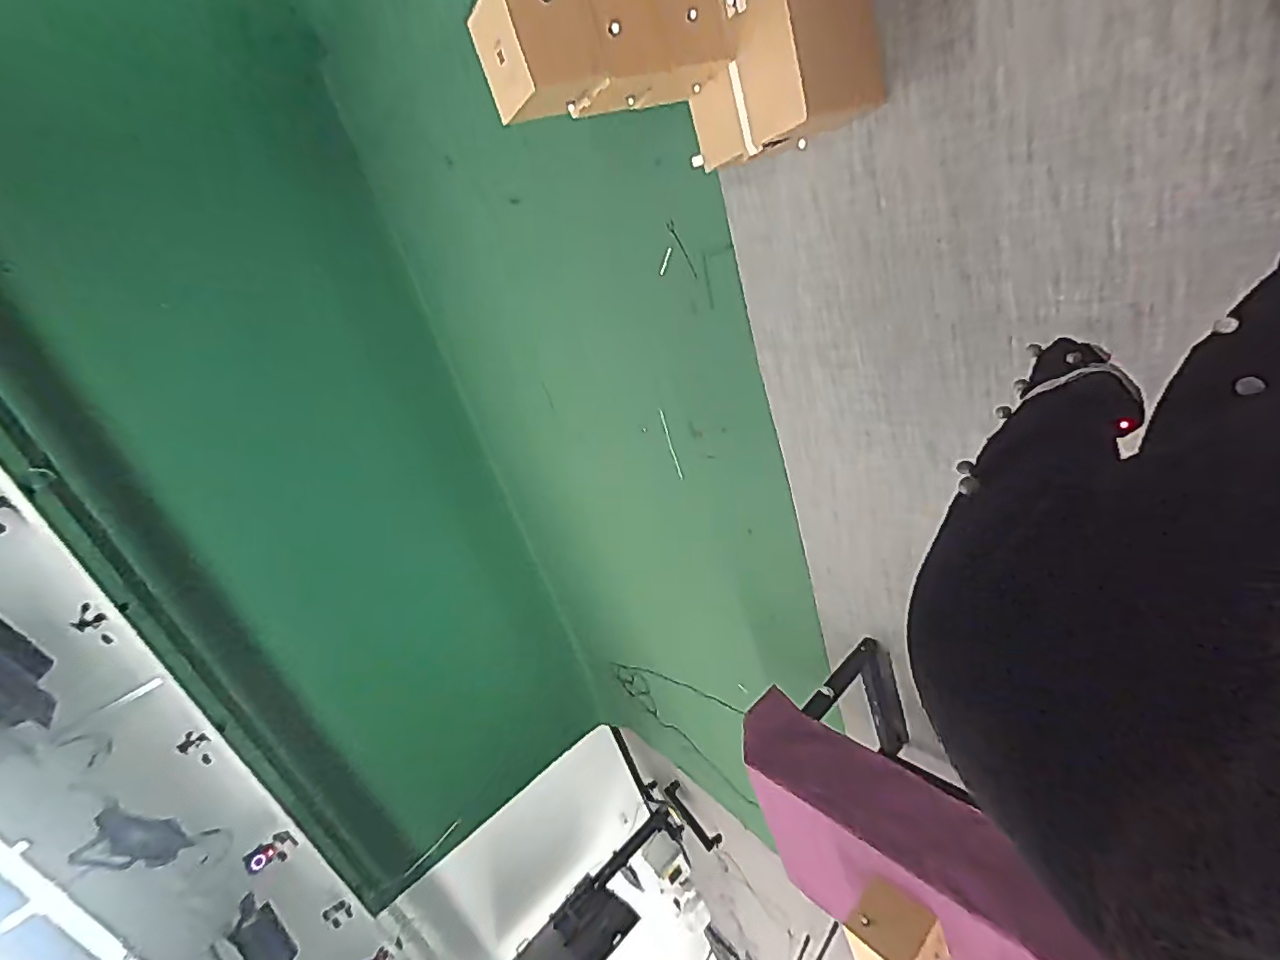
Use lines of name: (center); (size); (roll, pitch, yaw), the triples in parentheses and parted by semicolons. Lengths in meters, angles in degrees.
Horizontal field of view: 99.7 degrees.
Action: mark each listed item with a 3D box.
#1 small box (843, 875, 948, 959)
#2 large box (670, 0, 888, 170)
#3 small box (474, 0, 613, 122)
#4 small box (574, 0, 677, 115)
small box: (0.667, 1.186, 1.411); (0.179, 0.176, 0.168); (7, 124, 54)
large box: (0.320, -1.001, 1.241); (0.320, 0.320, 0.408); (11, 125, 54)
small box: (-0.179, -0.810, 1.015); (0.168, 0.176, 0.179); (16, 132, 55)
small box: (-0.053, -0.878, 1.094); (0.168, 0.176, 0.179); (13, 129, 56)
